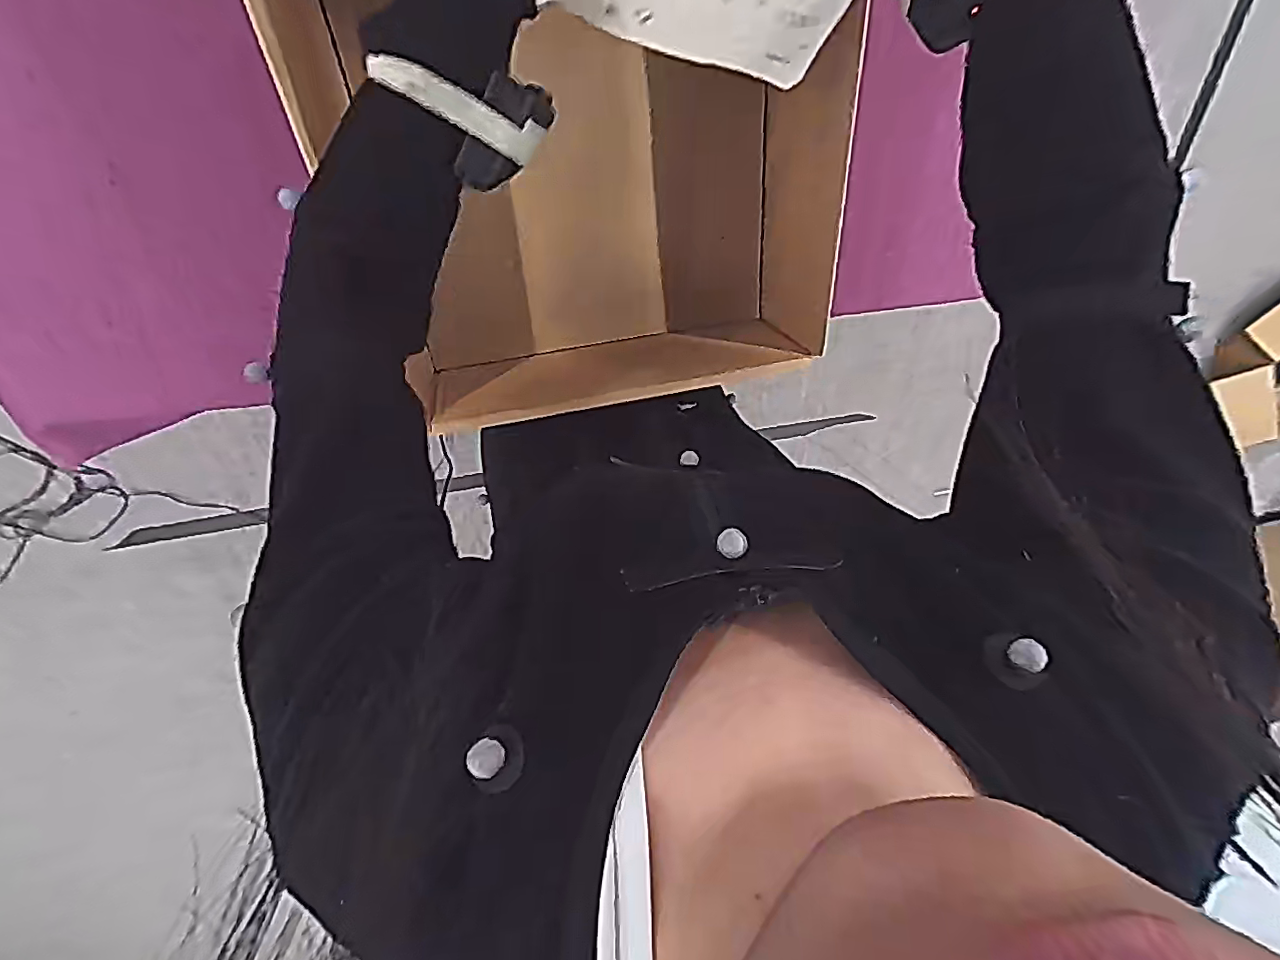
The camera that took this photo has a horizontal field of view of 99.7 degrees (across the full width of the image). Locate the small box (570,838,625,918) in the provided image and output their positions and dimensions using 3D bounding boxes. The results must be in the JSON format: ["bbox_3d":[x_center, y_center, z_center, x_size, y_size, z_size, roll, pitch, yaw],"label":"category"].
[{"bbox_3d":[-0.155,1.427,1.941,0.179,0.176,0.168,-8,127,-12],"label":"small box"}]
